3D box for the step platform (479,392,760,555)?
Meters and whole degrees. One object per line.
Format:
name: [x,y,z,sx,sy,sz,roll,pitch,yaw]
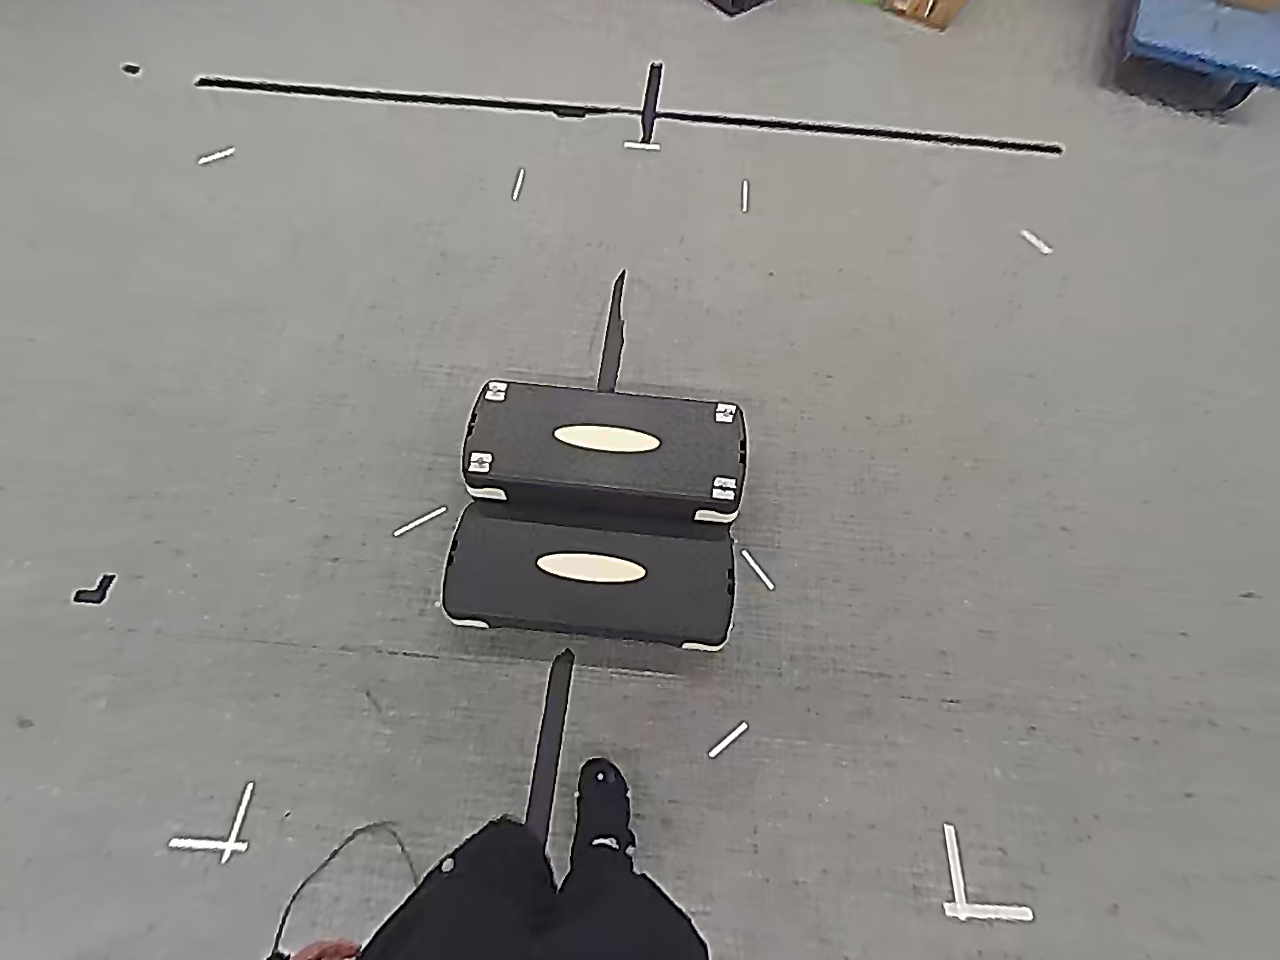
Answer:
step platform: [-0.047,-0.018,1.365,0.684,0.204,0.286,10,64,2]
